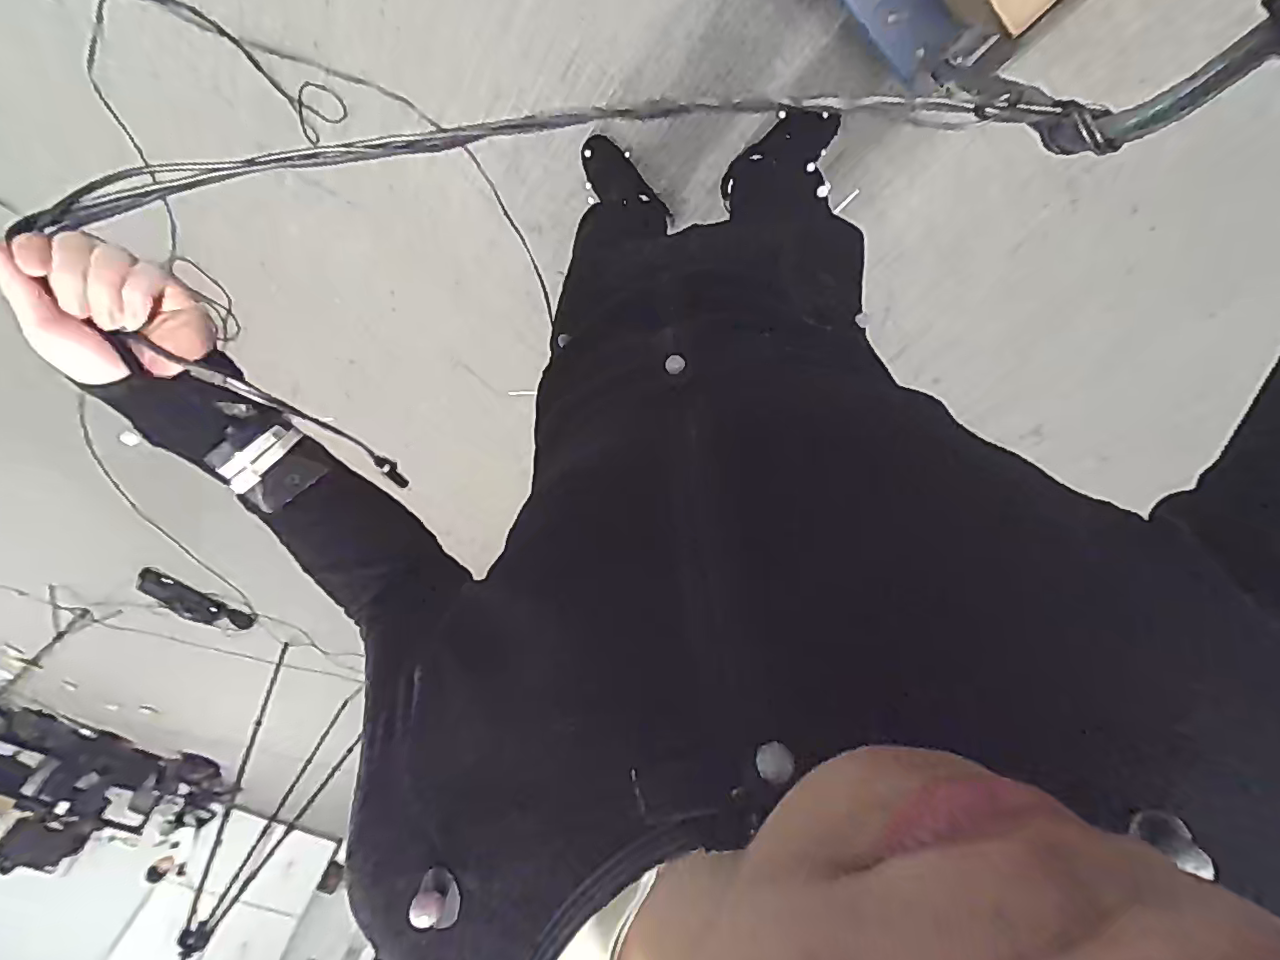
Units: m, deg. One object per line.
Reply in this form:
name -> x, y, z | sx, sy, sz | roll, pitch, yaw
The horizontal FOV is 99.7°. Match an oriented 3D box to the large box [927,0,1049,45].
large box -> 0.463, -0.876, 0.694 | 0.408, 0.320, 0.320 | 37, 129, -20
